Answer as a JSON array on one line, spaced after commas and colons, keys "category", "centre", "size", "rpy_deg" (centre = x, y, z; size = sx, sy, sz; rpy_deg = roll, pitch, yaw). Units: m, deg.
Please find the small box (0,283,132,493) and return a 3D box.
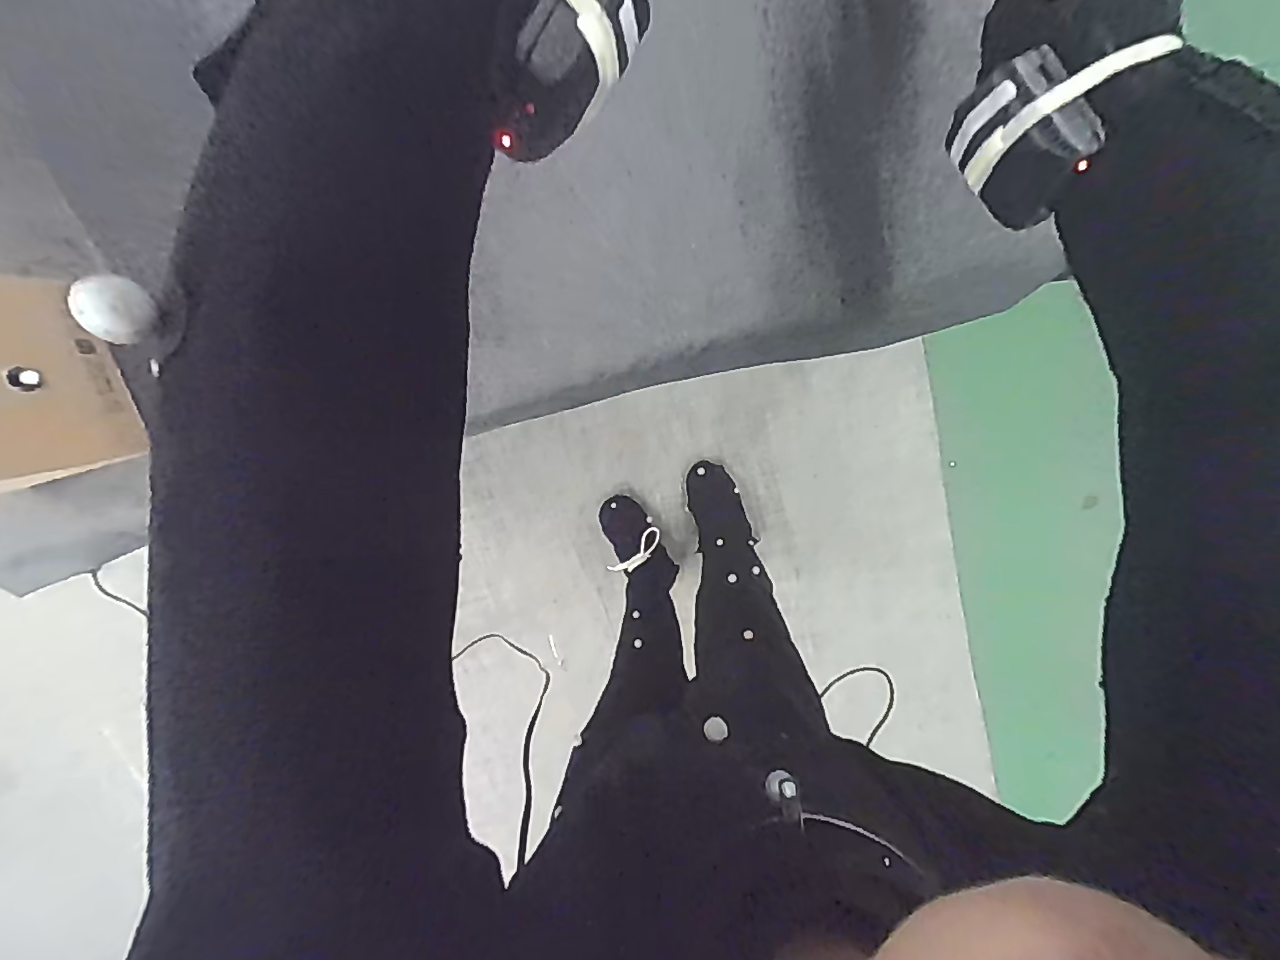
[{"category": "small box", "centre": [-0.589, -0.066, 0.453], "size": [0.179, 0.176, 0.168], "rpy_deg": [-13, 102, 10]}]
